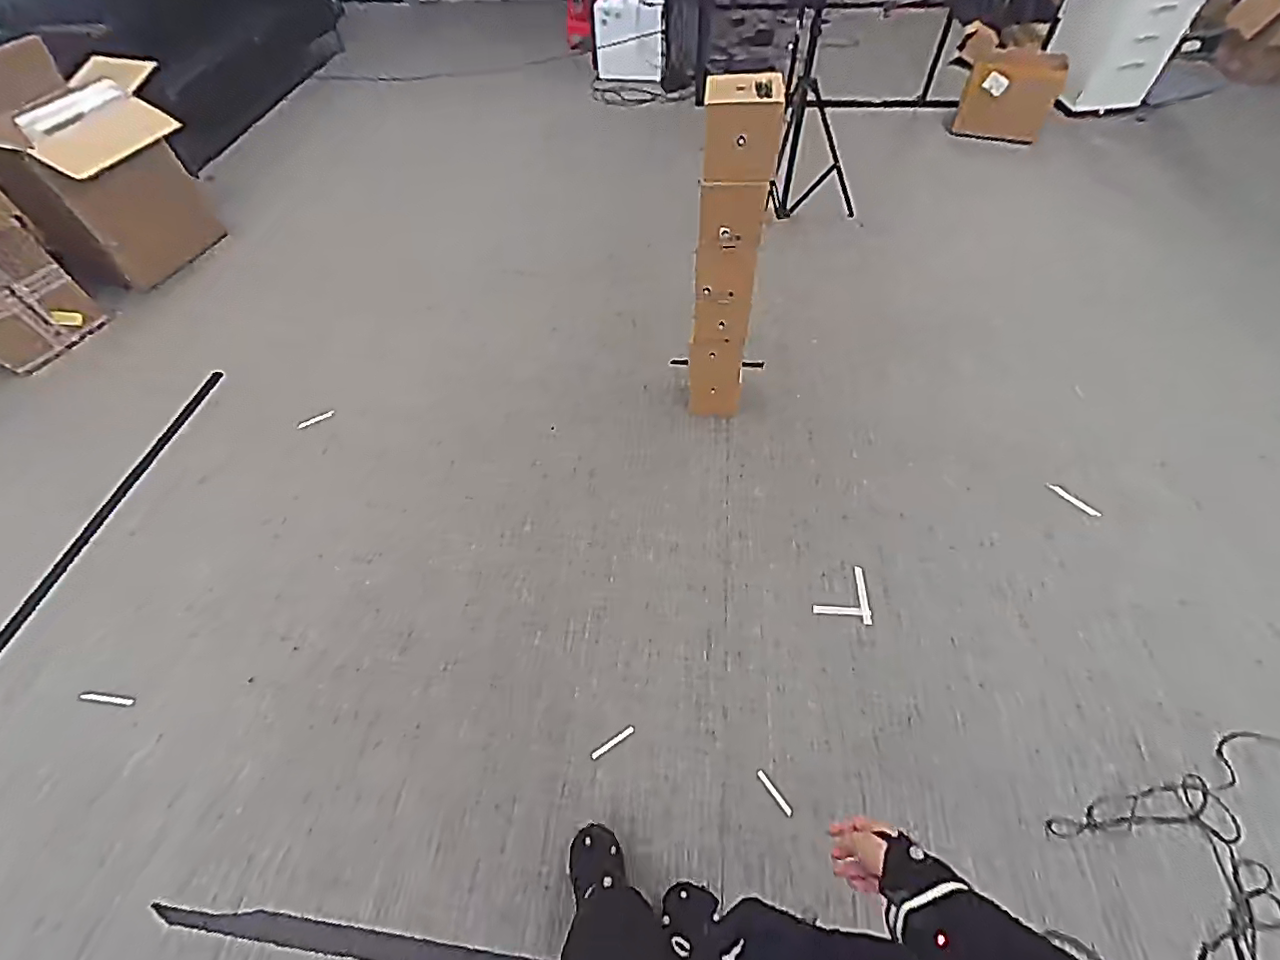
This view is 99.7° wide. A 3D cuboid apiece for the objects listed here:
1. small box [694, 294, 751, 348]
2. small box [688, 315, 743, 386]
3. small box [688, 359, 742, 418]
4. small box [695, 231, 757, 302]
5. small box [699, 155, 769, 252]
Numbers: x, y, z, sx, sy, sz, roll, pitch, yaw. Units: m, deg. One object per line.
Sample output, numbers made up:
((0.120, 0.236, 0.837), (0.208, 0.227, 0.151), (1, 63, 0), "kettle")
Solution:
((0.255, -0.530, 1.676), (0.168, 0.176, 0.179), (5, 56, 7), "small box")
((0.253, -0.433, 1.807), (0.179, 0.176, 0.168), (6, 56, 7), "small box")
((0.267, -0.339, 1.942), (0.179, 0.176, 0.168), (4, 55, 6), "small box")
((0.246, -0.628, 1.545), (0.168, 0.176, 0.179), (4, 54, 7), "small box")
((0.241, -0.722, 1.413), (0.168, 0.176, 0.179), (2, 55, 6), "small box")
